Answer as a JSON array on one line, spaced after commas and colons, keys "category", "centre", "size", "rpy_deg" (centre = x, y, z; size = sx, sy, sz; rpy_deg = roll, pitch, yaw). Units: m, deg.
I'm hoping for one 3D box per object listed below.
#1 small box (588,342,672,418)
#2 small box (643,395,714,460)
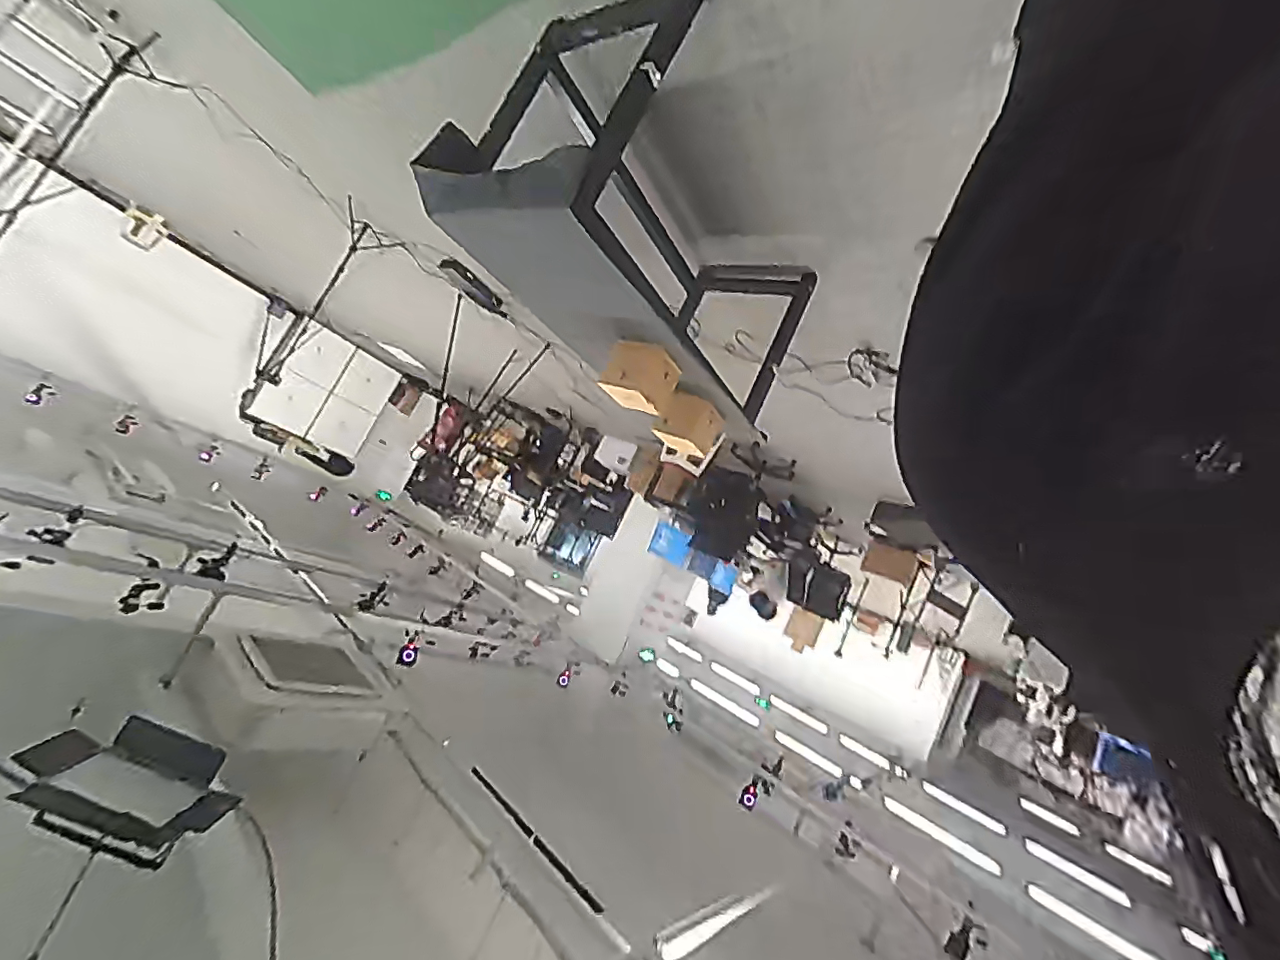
[{"category": "small box", "centre": [-0.028, -0.324, 1.736], "size": [0.179, 0.176, 0.168], "rpy_deg": [18, 168, 35]}, {"category": "small box", "centre": [0.146, -0.197, 1.989], "size": [0.179, 0.176, 0.168], "rpy_deg": [19, 170, 34]}]
